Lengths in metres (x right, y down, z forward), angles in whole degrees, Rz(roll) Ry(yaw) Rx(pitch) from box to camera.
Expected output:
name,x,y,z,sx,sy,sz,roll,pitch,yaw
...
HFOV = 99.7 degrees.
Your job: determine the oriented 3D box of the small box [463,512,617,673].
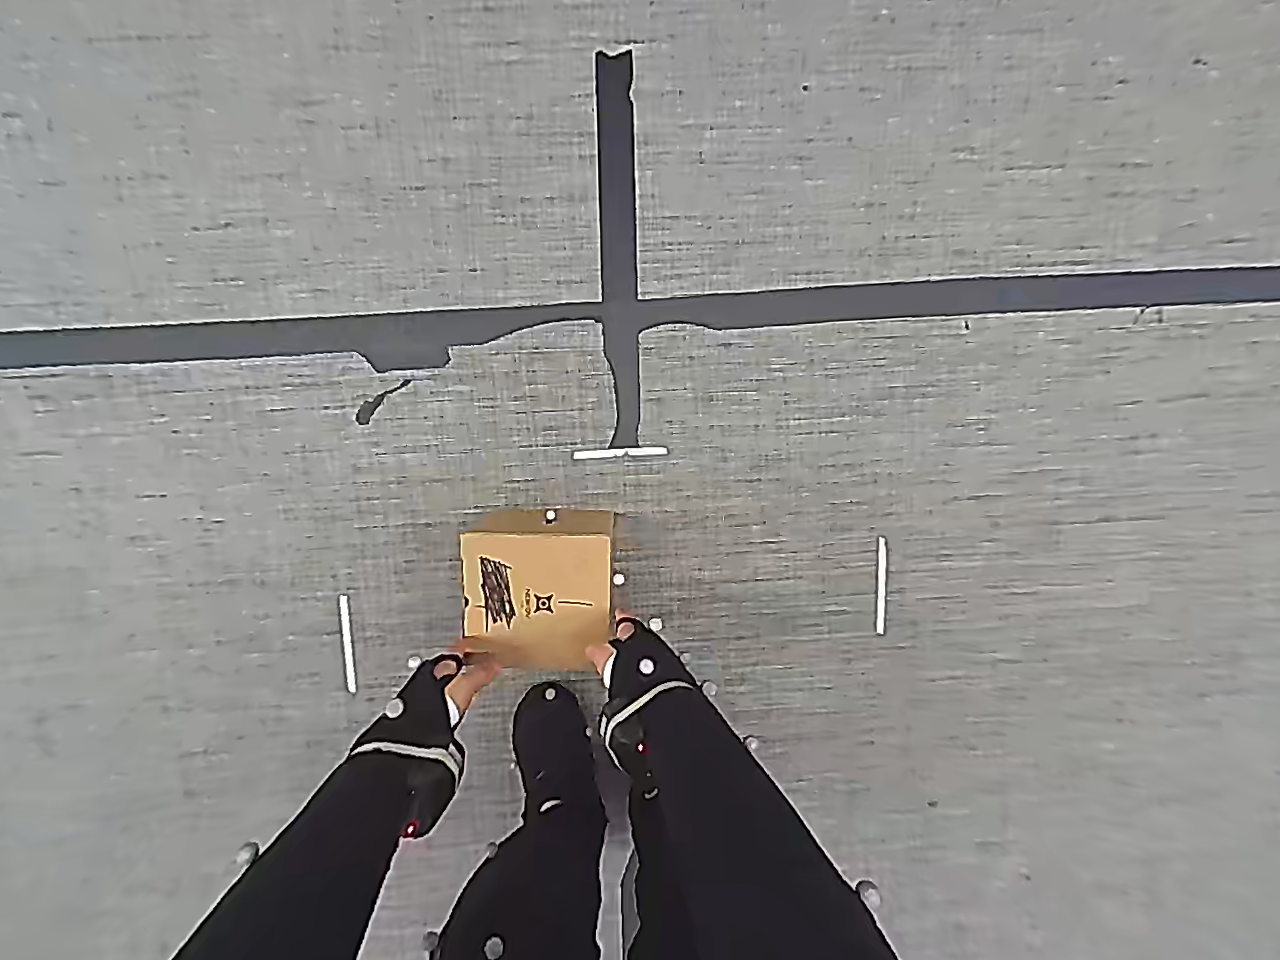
name,x,y,z,sx,sy,sz,roll,pitch,yaw
small box,-0.120,0.138,0.711,0.179,0.176,0.168,1,97,-2
